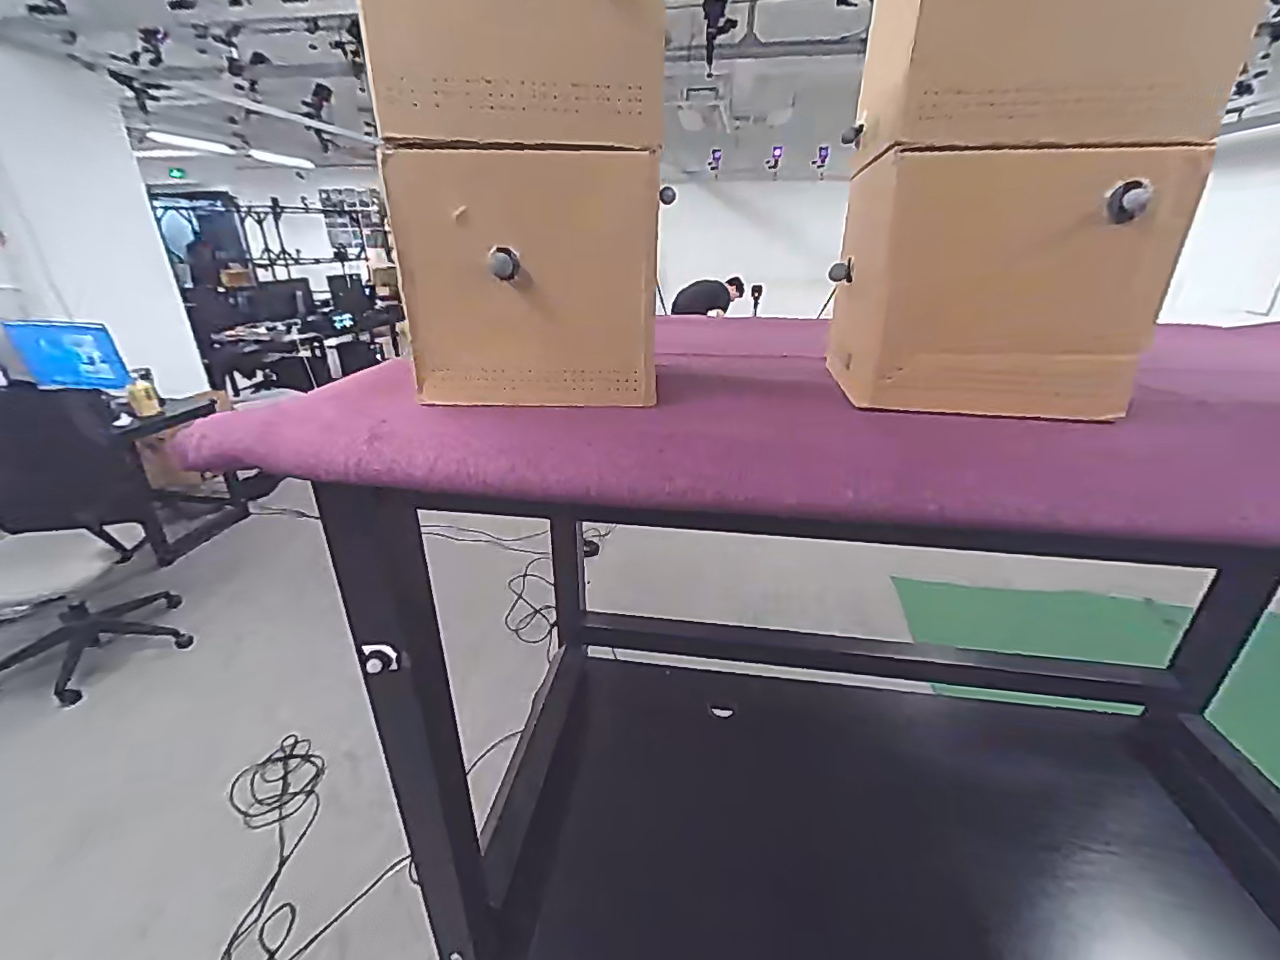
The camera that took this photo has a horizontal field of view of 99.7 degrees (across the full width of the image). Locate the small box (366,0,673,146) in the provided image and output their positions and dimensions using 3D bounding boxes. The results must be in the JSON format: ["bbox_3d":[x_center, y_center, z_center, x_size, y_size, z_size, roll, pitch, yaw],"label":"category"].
[{"bbox_3d":[-0.070,-0.310,0.368,0.179,0.176,0.168,-2,24,-4],"label":"small box"}]

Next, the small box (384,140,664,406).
[{"bbox_3d":[-0.071,-0.161,0.435,0.179,0.176,0.168,0,25,-1],"label":"small box"}]

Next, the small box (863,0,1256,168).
[{"bbox_3d":[0.259,-0.303,0.359,0.179,0.176,0.168,6,23,8],"label":"small box"}]

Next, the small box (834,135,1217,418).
[{"bbox_3d":[0.256,-0.150,0.419,0.179,0.176,0.168,5,23,9],"label":"small box"}]
